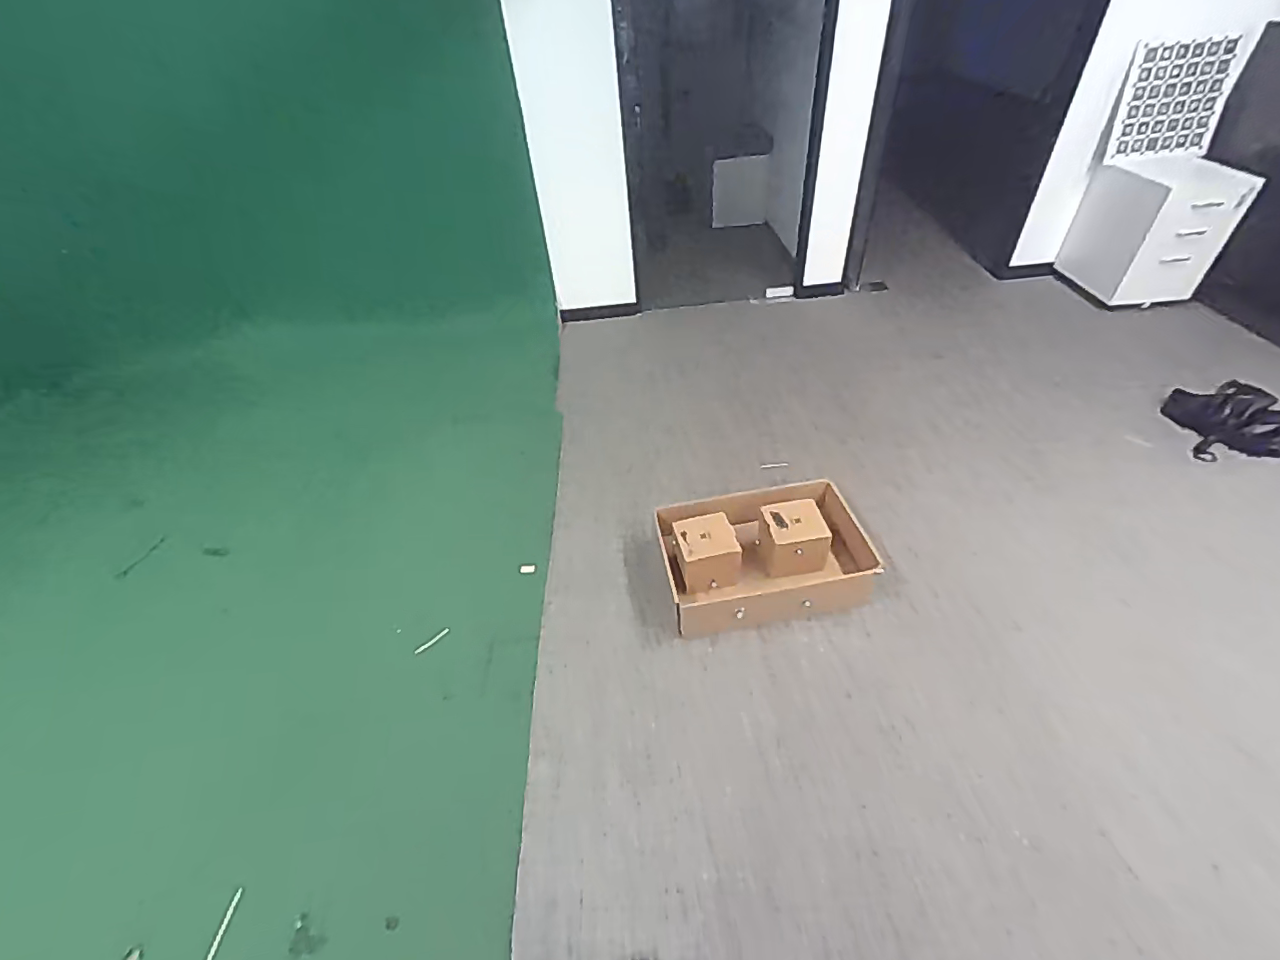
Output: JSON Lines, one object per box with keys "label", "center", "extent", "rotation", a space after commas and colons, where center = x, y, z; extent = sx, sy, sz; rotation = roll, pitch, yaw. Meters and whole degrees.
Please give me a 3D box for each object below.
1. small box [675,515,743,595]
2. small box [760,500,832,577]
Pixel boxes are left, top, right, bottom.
{"label": "small box", "center": [0.211, 0.236, 1.702], "extent": [0.179, 0.176, 0.168], "rotation": [-10, 42, -7]}
{"label": "small box", "center": [0.487, 0.190, 1.720], "extent": [0.179, 0.176, 0.168], "rotation": [-9, 43, -2]}
